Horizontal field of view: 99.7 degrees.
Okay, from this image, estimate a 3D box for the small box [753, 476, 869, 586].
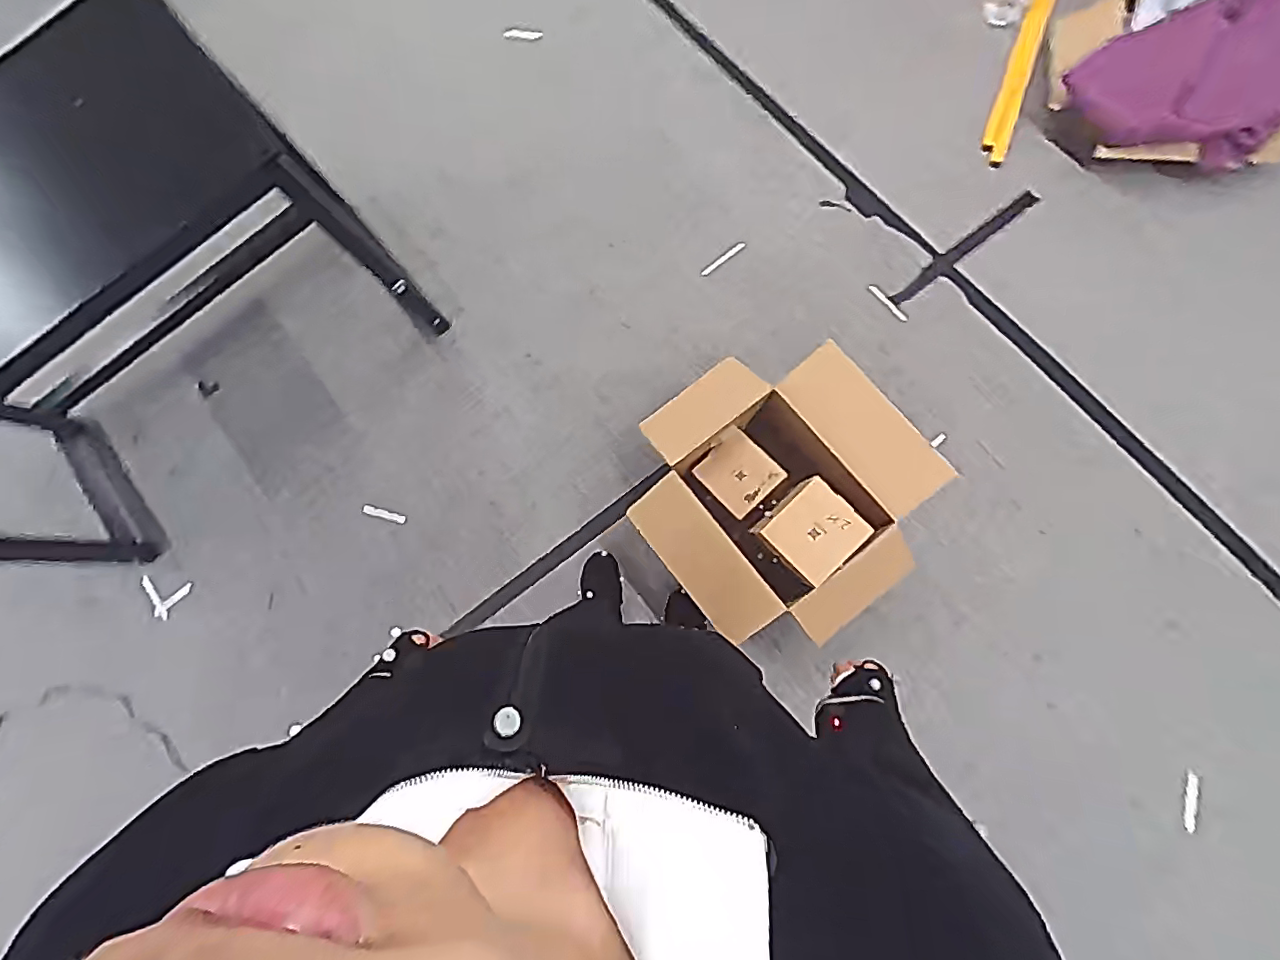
[{"bbox_3d":[0.371,0.115,1.215,0.179,0.176,0.168,-44,83,-2],"label":"small box"}]
